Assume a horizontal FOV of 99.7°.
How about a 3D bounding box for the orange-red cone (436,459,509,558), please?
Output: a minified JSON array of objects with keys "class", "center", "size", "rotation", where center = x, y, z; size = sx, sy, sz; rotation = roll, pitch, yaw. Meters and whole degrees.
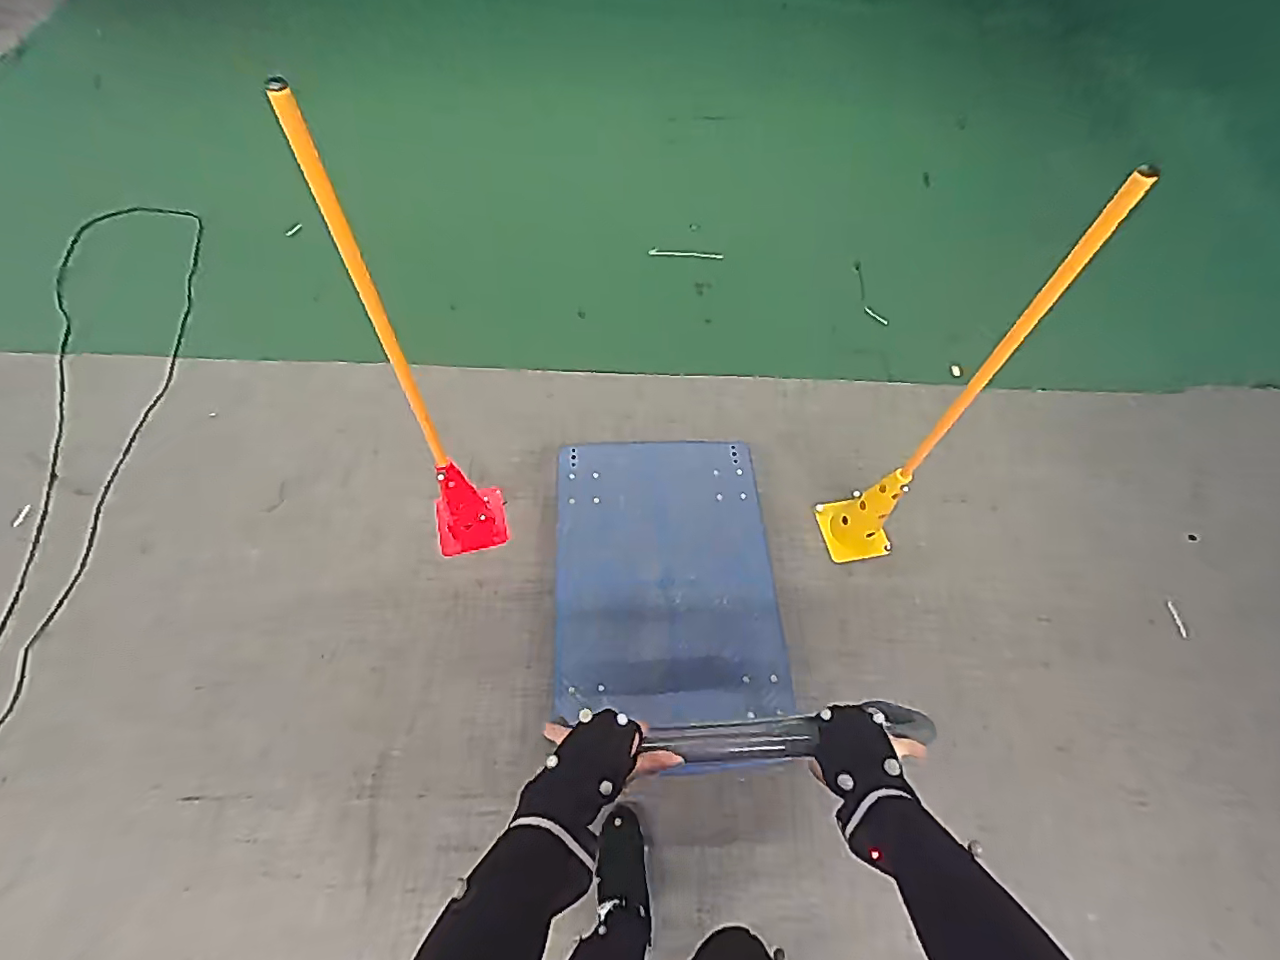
[{"class":"orange-red cone","center":[-0.500,0.050,1.496],"size":[0.199,0.360,0.198],"rotation":[-12,62,-9]}]
